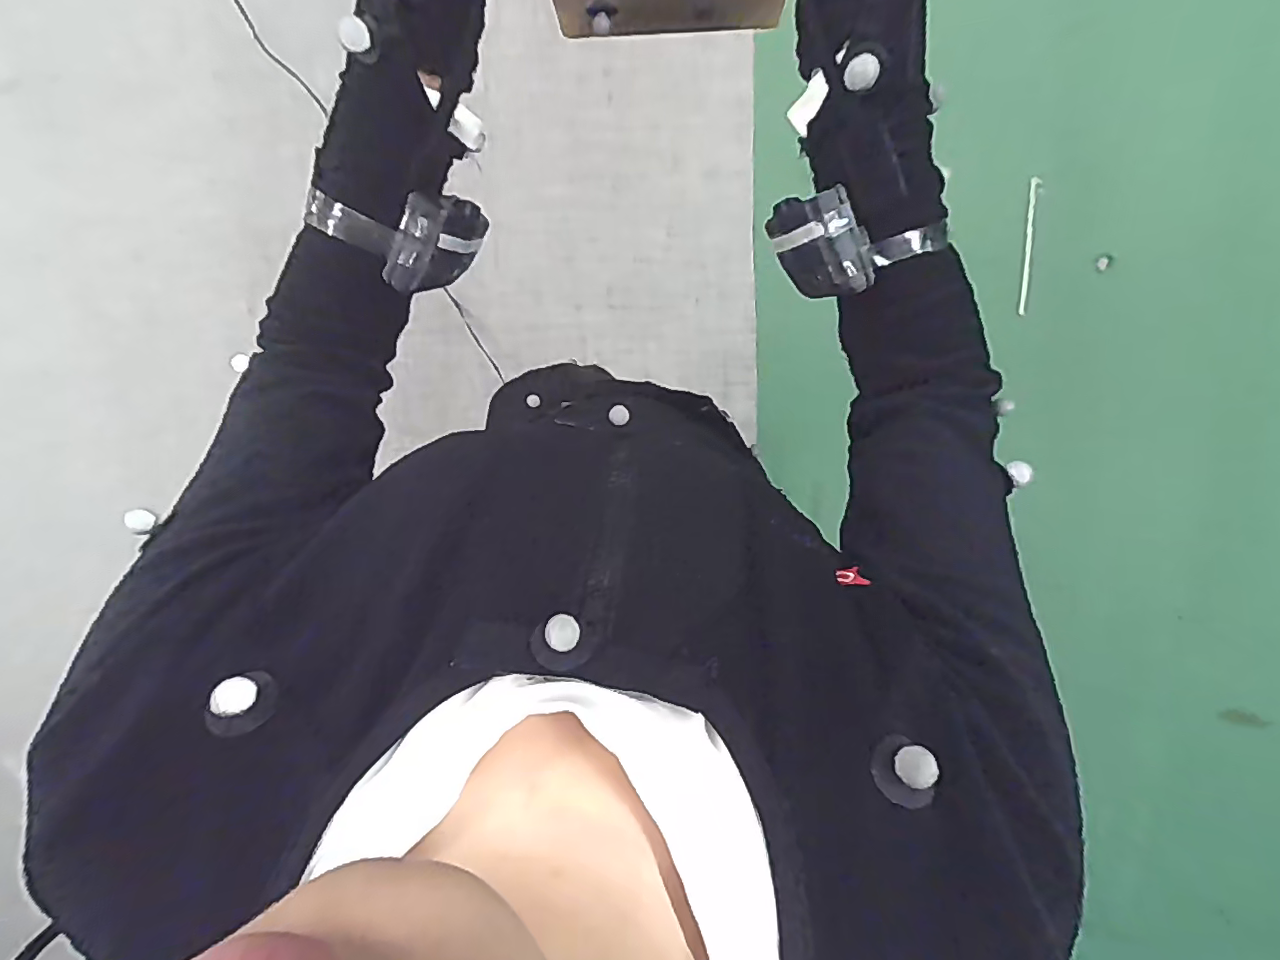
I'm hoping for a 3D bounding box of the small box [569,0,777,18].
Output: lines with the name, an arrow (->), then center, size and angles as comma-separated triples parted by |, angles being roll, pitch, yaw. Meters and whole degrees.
small box -> 0.016, -0.413, 0.315 | 0.168, 0.176, 0.179 | -1, 99, 3
